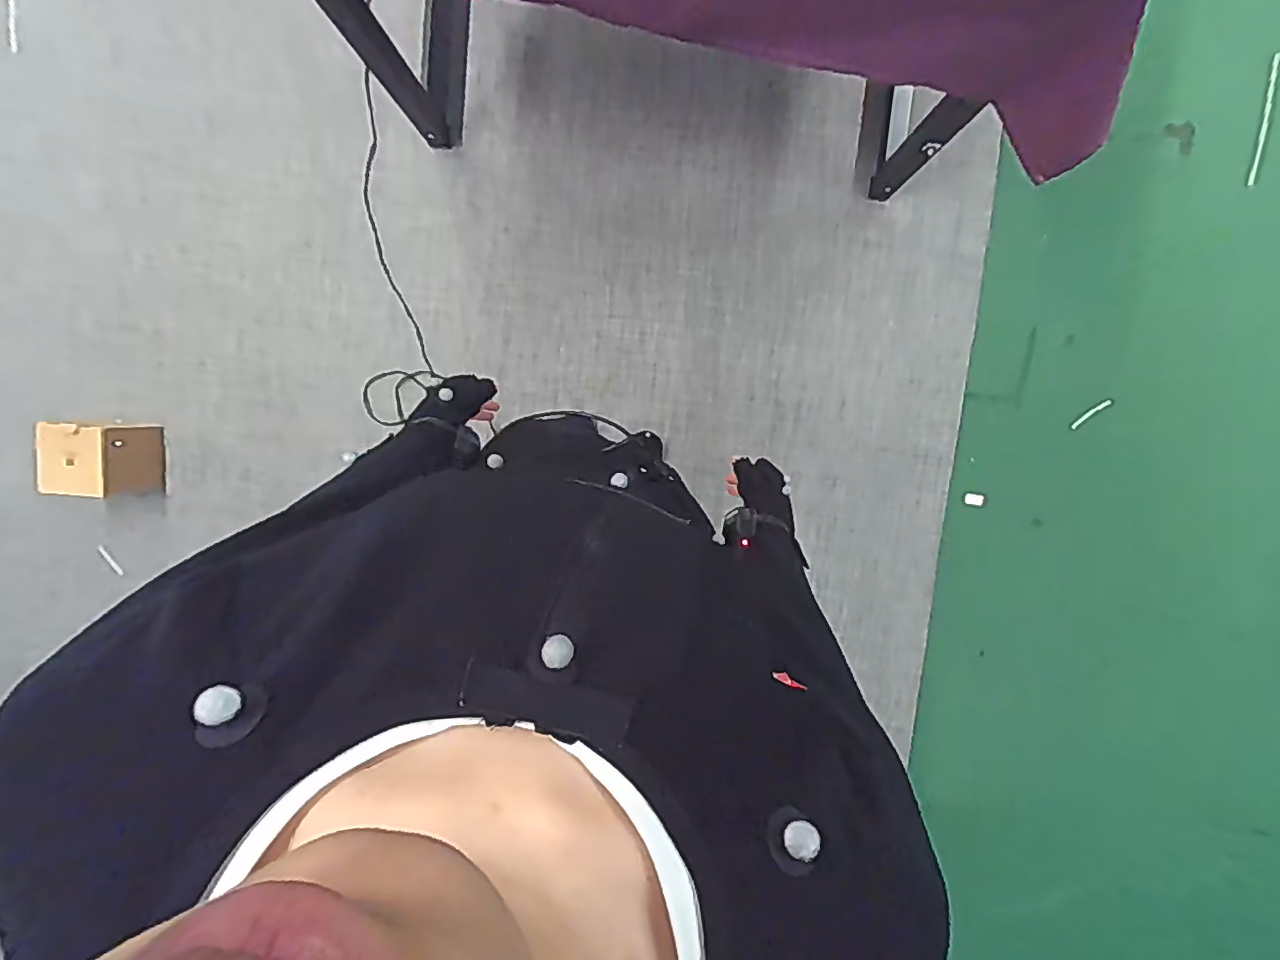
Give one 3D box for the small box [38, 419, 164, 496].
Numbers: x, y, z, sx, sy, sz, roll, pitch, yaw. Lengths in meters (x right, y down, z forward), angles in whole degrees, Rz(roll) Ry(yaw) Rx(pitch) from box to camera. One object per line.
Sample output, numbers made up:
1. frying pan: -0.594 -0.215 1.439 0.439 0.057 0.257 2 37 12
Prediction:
1. small box: -1.383 -0.063 1.398 0.168 0.176 0.179 5 96 0
